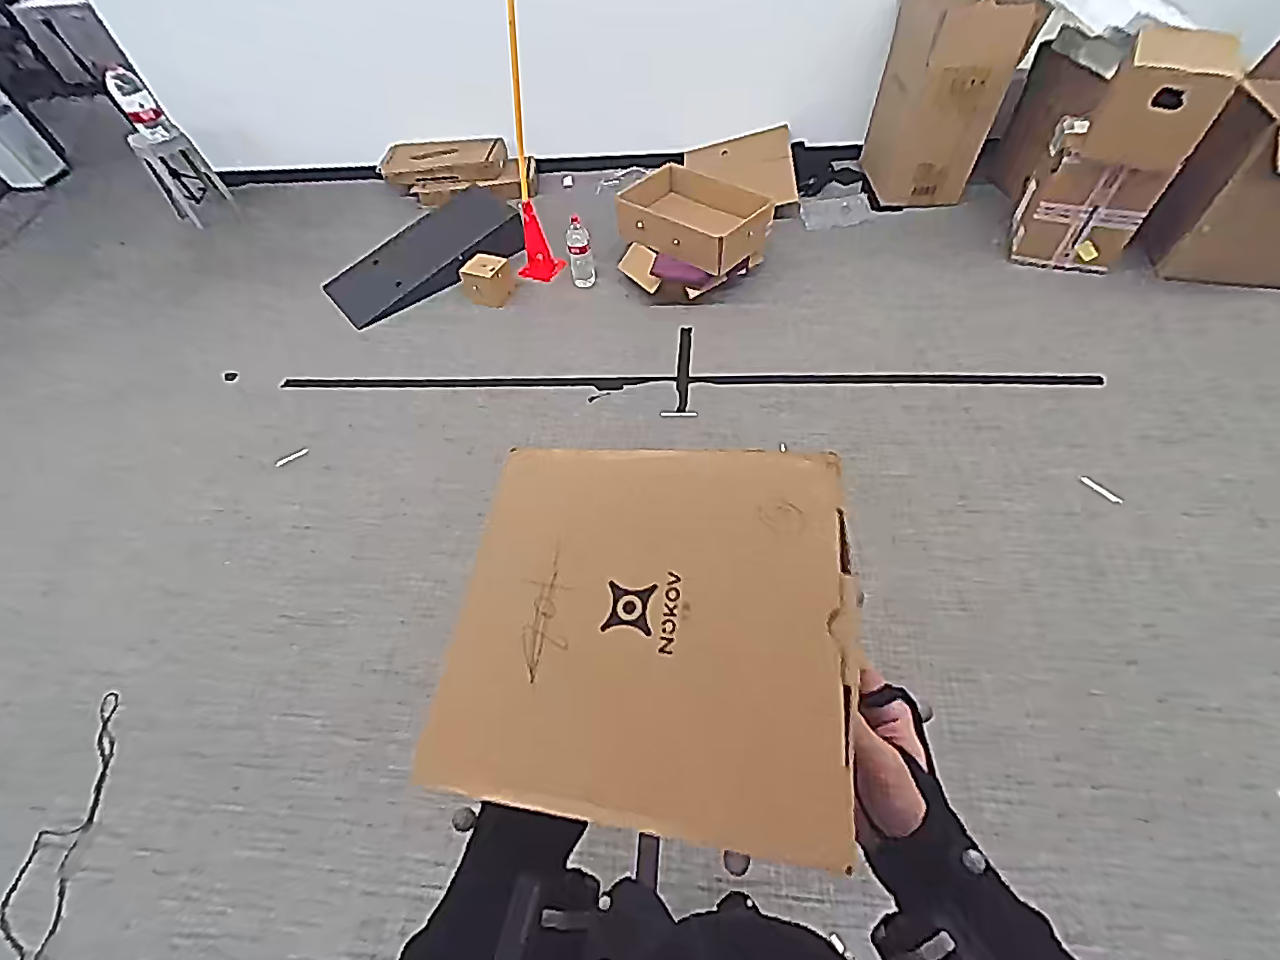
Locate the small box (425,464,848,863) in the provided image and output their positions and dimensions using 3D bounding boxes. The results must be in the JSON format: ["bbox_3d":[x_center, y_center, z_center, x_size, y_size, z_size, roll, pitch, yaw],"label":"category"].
[{"bbox_3d":[0.018,0.103,0.317,0.179,0.176,0.168,-1,60,16],"label":"small box"}]
